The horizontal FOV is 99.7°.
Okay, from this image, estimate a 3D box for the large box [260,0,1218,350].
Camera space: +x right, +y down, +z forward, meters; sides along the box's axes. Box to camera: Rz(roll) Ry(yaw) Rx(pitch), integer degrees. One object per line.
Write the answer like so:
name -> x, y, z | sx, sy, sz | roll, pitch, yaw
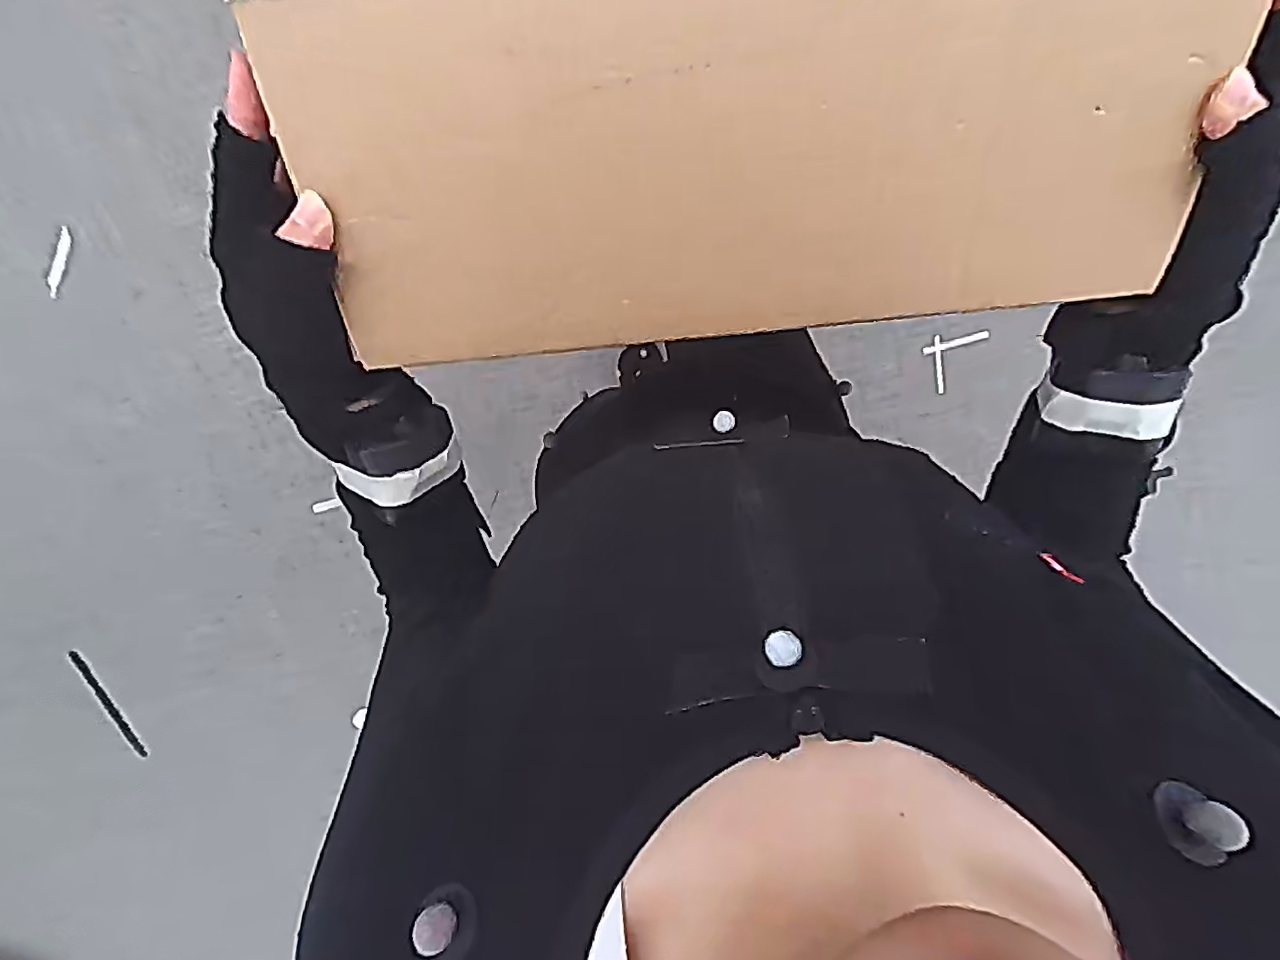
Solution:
large box -> 0.035, -0.296, 0.340 | 0.408, 0.320, 0.320 | -6, 121, 1
